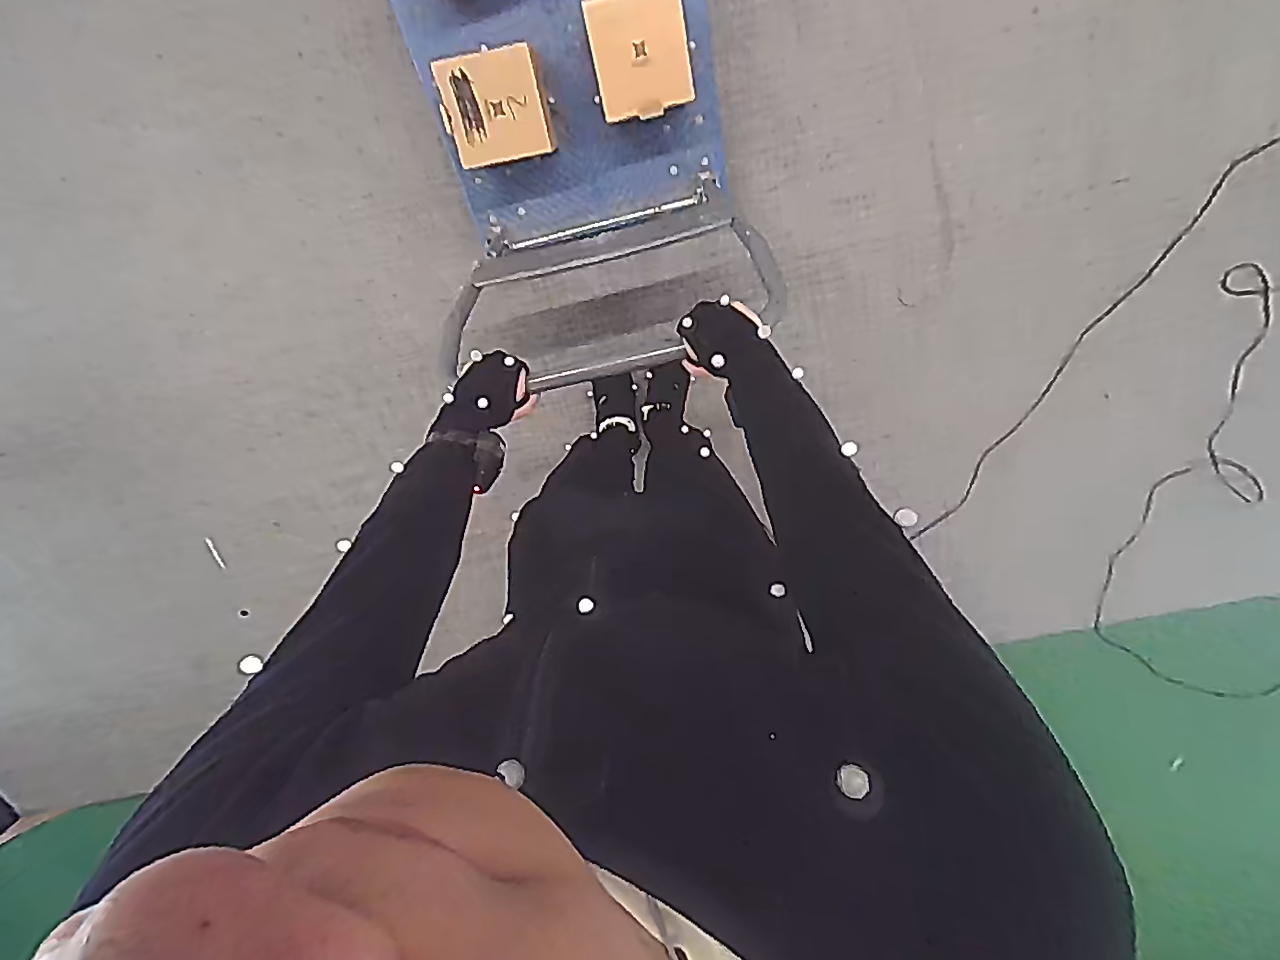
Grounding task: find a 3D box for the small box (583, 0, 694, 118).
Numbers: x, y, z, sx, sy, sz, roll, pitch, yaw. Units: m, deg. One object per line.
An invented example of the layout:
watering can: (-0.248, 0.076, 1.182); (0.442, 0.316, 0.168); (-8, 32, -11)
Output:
small box: (-0.004, -0.790, 0.997); (0.168, 0.176, 0.179); (-12, 126, 5)
